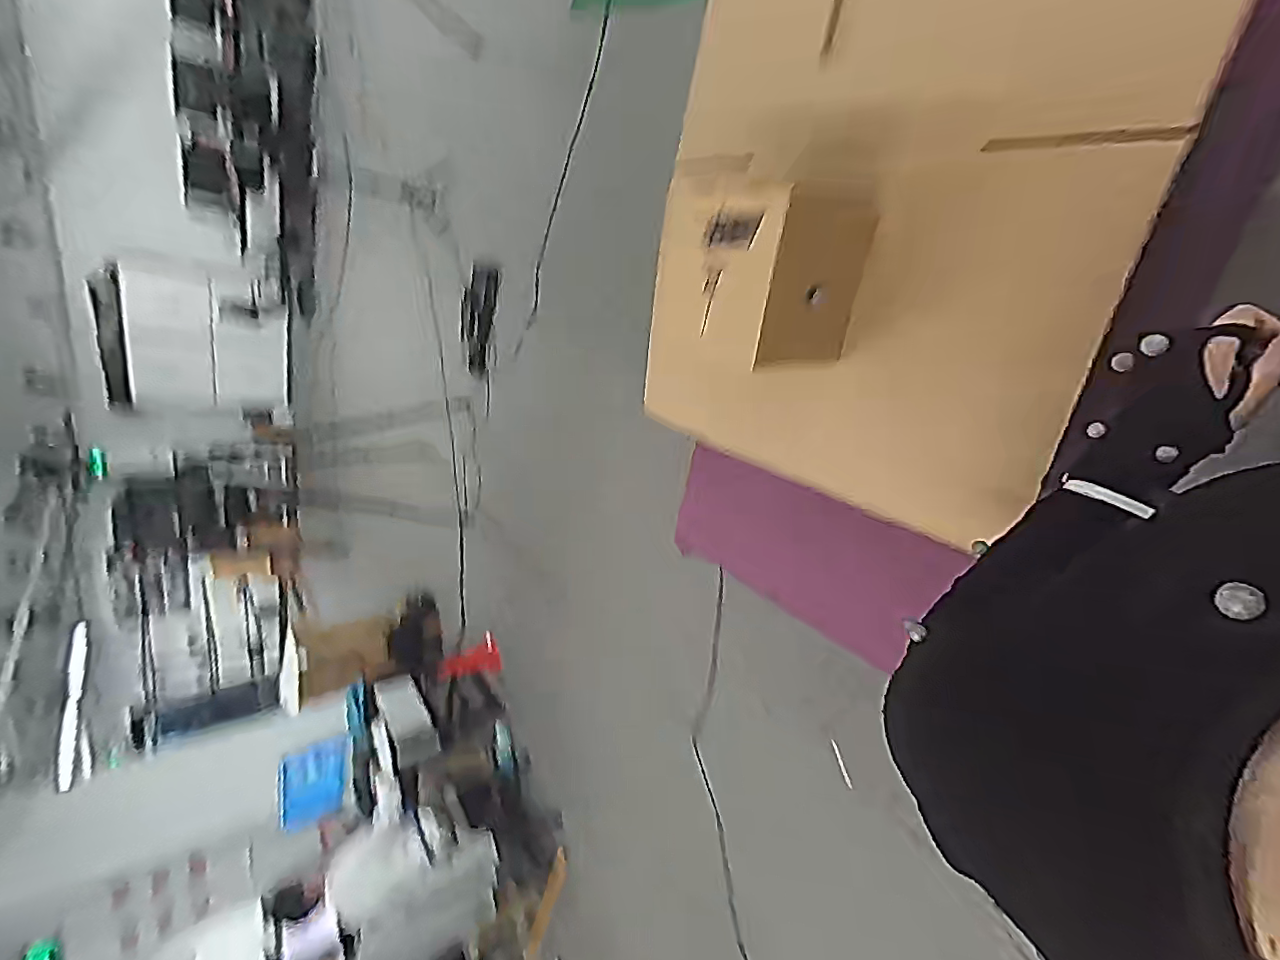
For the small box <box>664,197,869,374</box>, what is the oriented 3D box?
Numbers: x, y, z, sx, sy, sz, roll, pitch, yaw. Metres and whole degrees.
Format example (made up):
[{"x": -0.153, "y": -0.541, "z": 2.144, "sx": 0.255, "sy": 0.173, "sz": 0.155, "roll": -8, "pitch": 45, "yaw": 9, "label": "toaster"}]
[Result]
[{"x": 0.154, "y": -0.238, "z": 0.667, "sx": 0.168, "sy": 0.176, "sz": 0.179, "roll": 31, "pitch": 123, "yaw": 44, "label": "small box"}]
